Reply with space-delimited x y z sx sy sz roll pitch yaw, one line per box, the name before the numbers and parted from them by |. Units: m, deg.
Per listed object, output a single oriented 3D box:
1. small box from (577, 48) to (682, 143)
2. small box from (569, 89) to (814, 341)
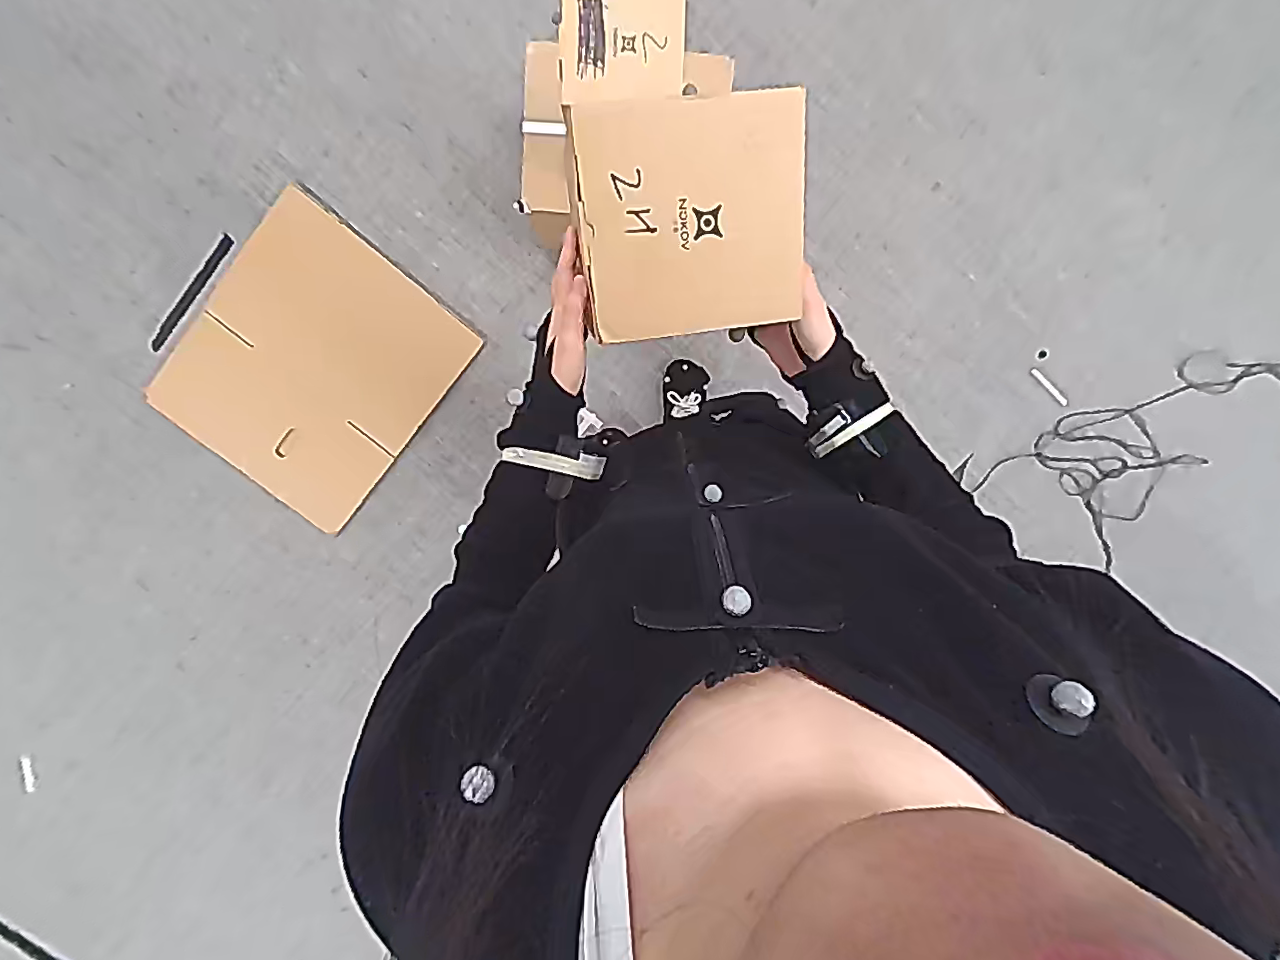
small box | -0.020 -0.649 0.990 0.179 0.176 0.168 1 101 -2
small box | 0.036 -0.227 0.485 0.179 0.176 0.168 -9 112 -6
